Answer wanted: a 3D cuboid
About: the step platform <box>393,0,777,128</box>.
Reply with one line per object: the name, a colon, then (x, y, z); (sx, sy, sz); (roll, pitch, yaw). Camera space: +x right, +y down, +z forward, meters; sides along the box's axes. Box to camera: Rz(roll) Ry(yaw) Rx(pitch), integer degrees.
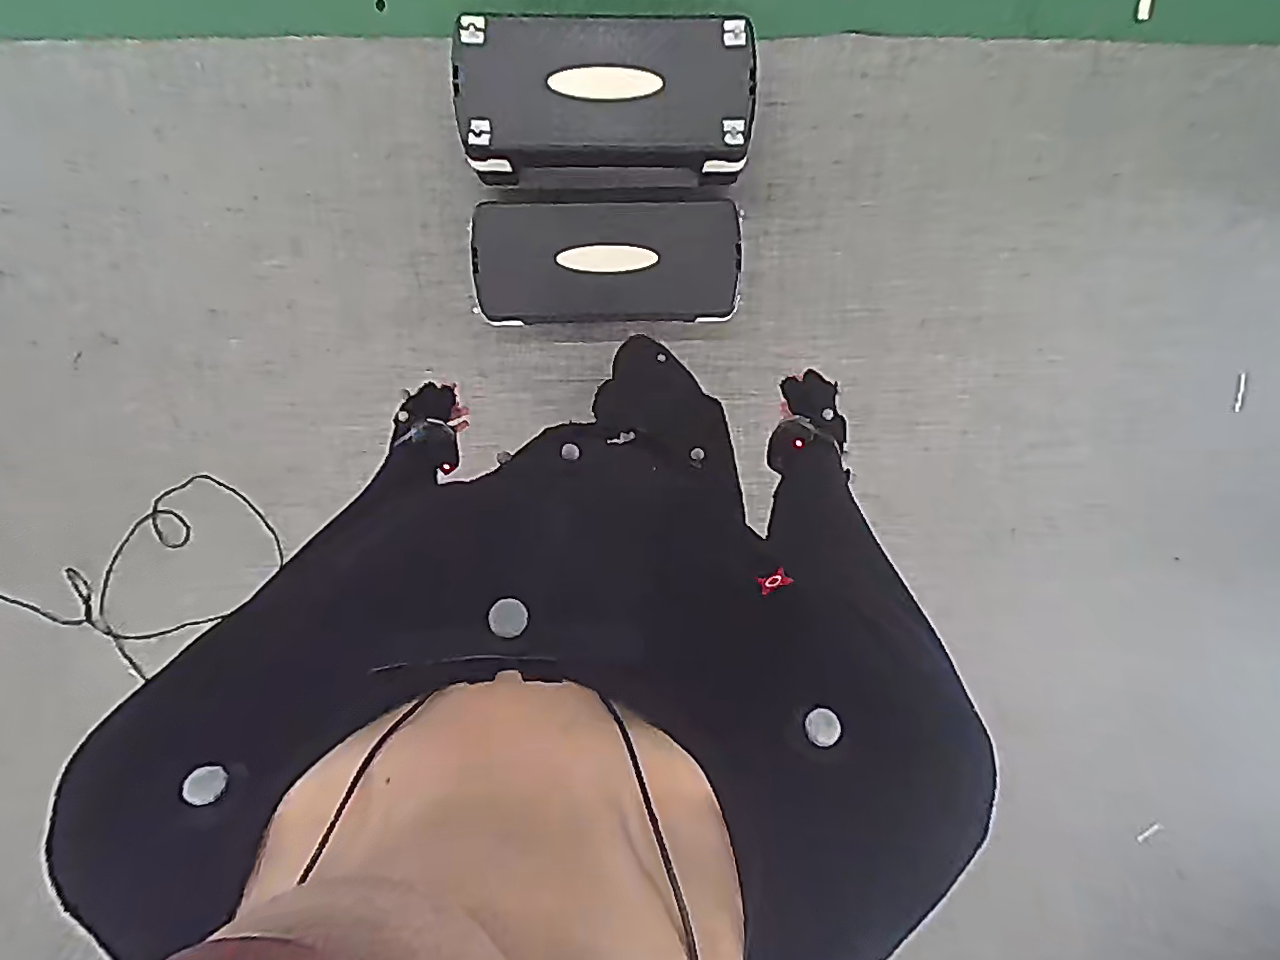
step platform: (-0.095, -0.867, 1.041); (0.684, 0.204, 0.286); (-1, 101, -1)
